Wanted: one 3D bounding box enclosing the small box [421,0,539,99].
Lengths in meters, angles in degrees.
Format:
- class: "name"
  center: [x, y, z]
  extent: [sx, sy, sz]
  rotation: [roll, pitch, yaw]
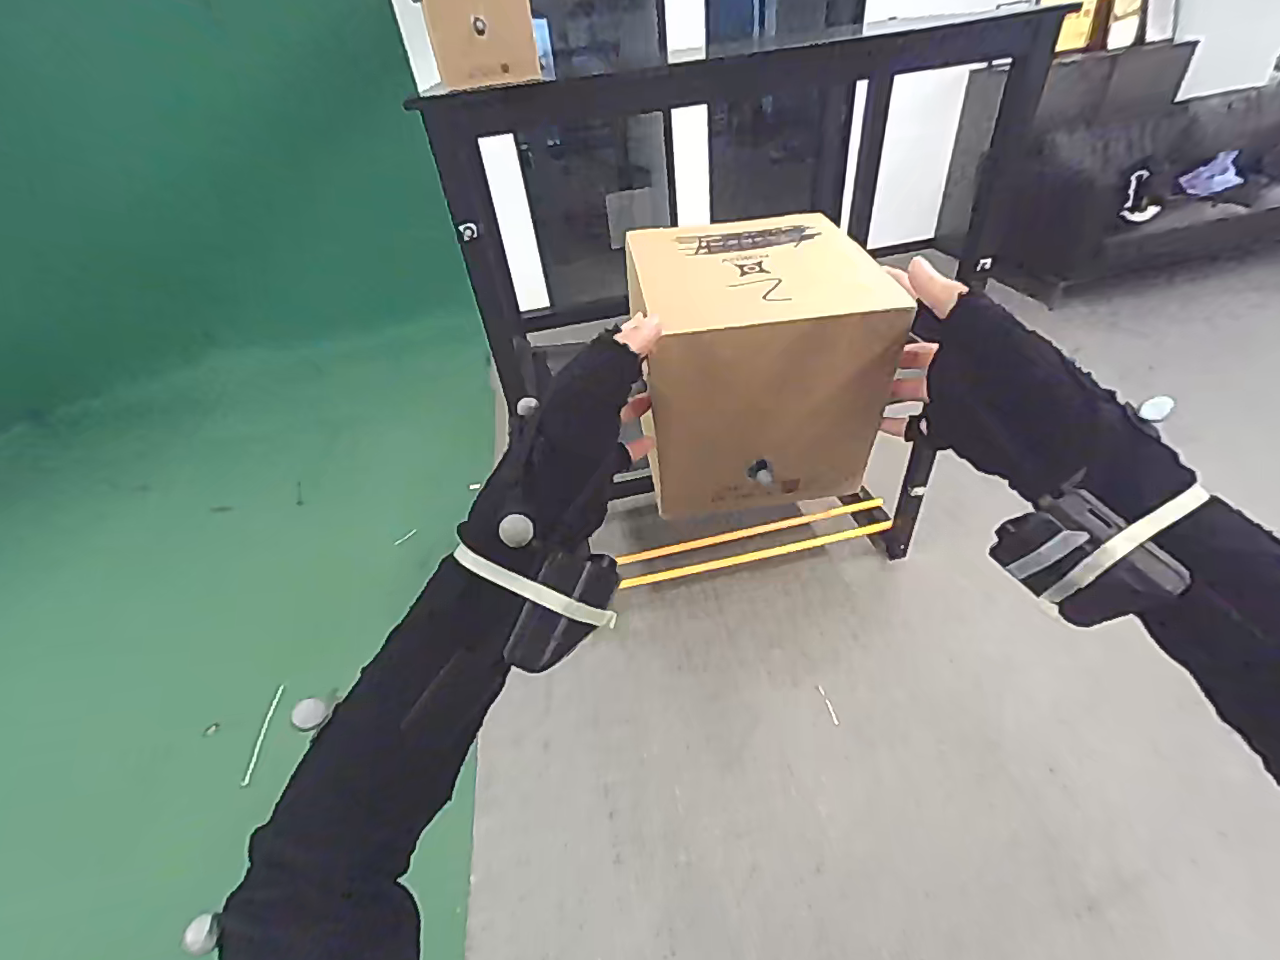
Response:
- class: "small box"
  center: [-0.286, -0.792, 0.963]
  extent: [0.168, 0.176, 0.179]
  rotation: [-15, 39, -11]
